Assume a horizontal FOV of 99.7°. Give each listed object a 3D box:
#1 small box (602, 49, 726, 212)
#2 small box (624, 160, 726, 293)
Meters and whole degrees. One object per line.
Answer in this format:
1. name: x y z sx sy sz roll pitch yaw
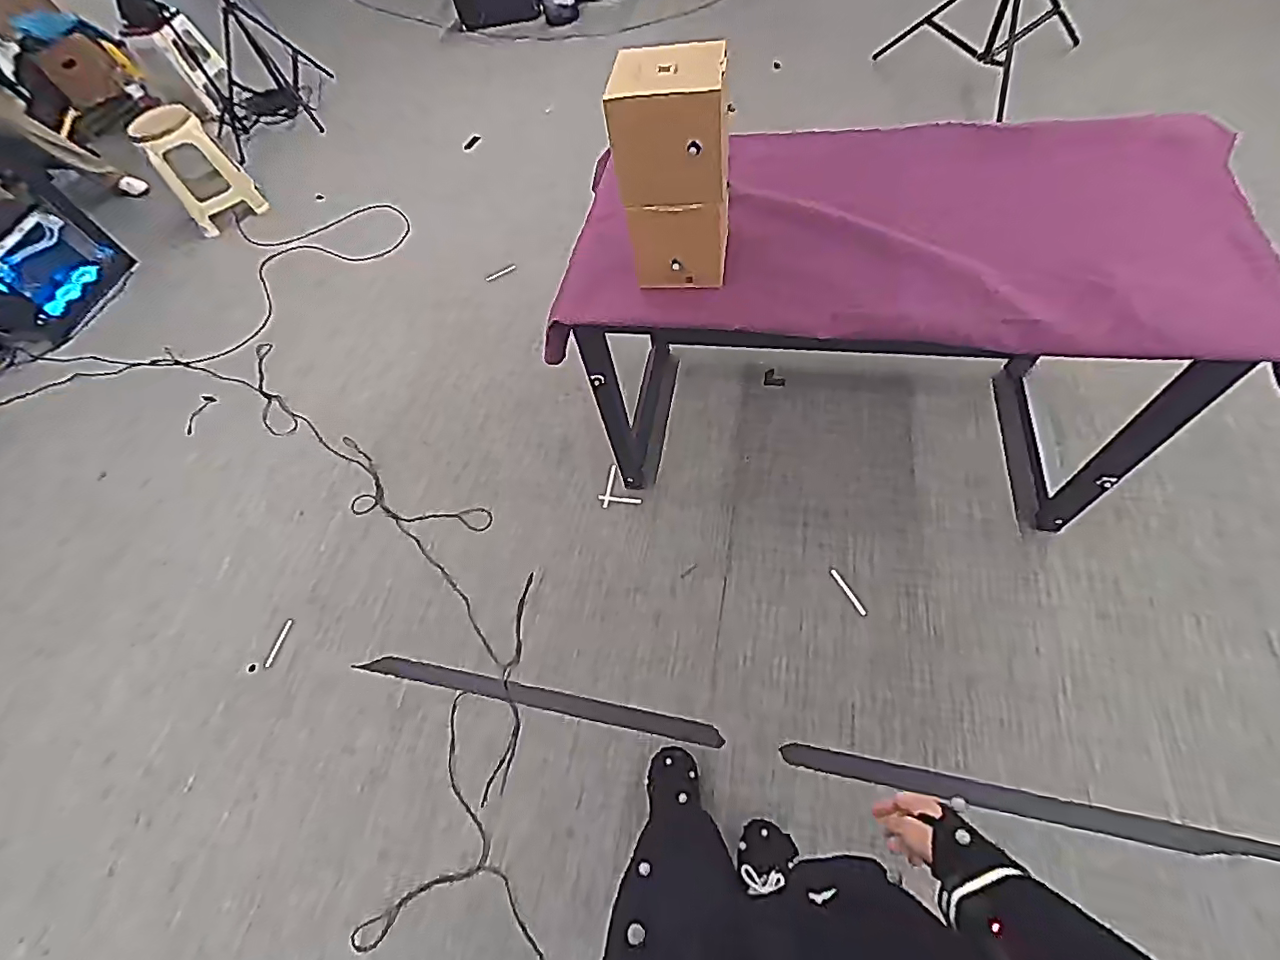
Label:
1. small box: 0.050 -0.565 0.888 0.179 0.176 0.168 2 58 11
2. small box: 0.074 -0.481 1.025 0.168 0.176 0.179 3 60 12
